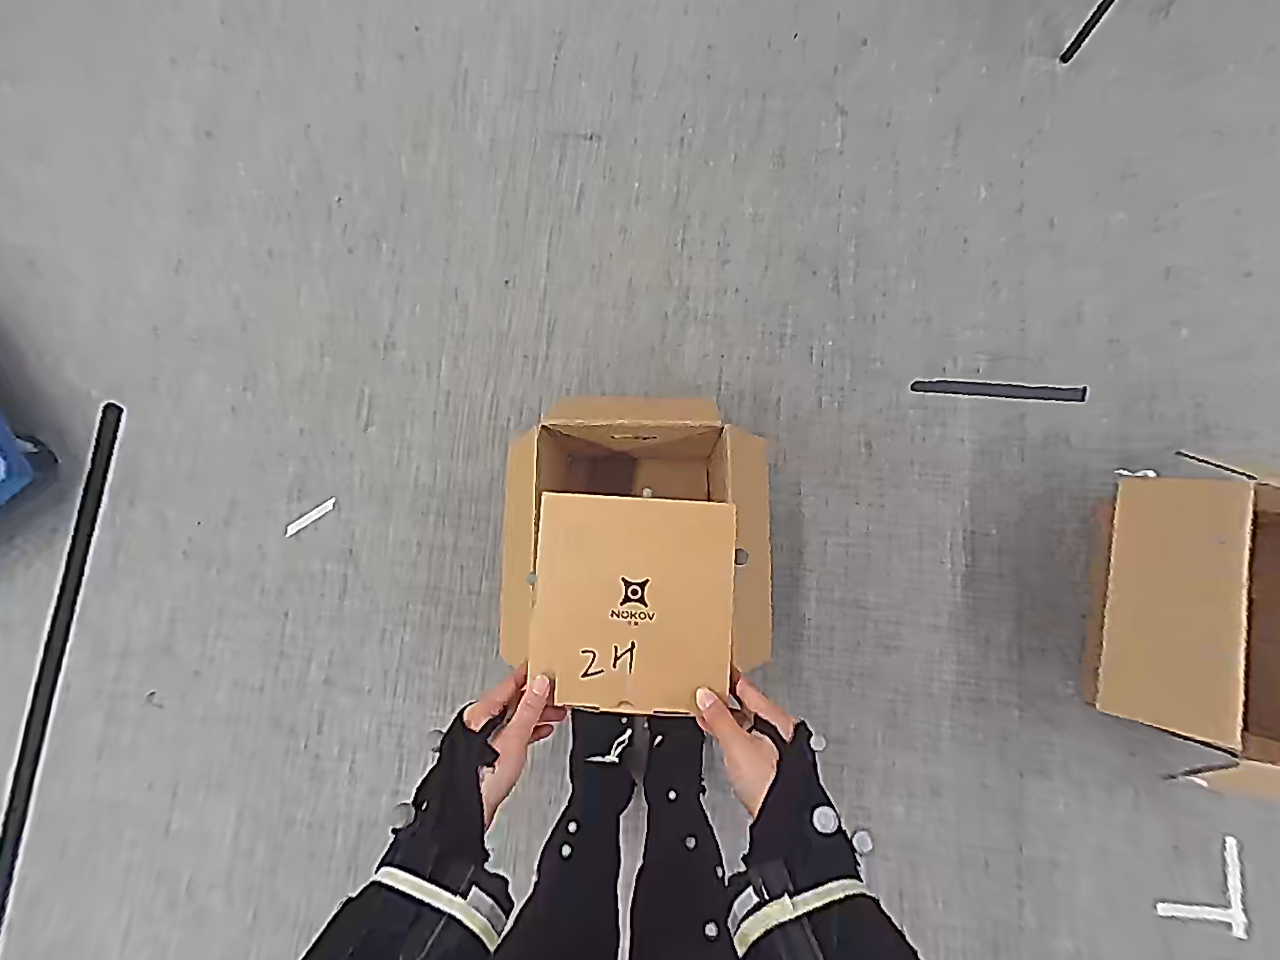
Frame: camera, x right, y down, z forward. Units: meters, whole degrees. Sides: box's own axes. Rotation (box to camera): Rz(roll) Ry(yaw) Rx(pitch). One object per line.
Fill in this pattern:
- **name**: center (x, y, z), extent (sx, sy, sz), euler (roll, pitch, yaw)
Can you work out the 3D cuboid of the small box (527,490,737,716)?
- **small box**: center (-0.004, 0.109, 0.526), extent (0.168, 0.176, 0.179), euler (3, 84, 2)
